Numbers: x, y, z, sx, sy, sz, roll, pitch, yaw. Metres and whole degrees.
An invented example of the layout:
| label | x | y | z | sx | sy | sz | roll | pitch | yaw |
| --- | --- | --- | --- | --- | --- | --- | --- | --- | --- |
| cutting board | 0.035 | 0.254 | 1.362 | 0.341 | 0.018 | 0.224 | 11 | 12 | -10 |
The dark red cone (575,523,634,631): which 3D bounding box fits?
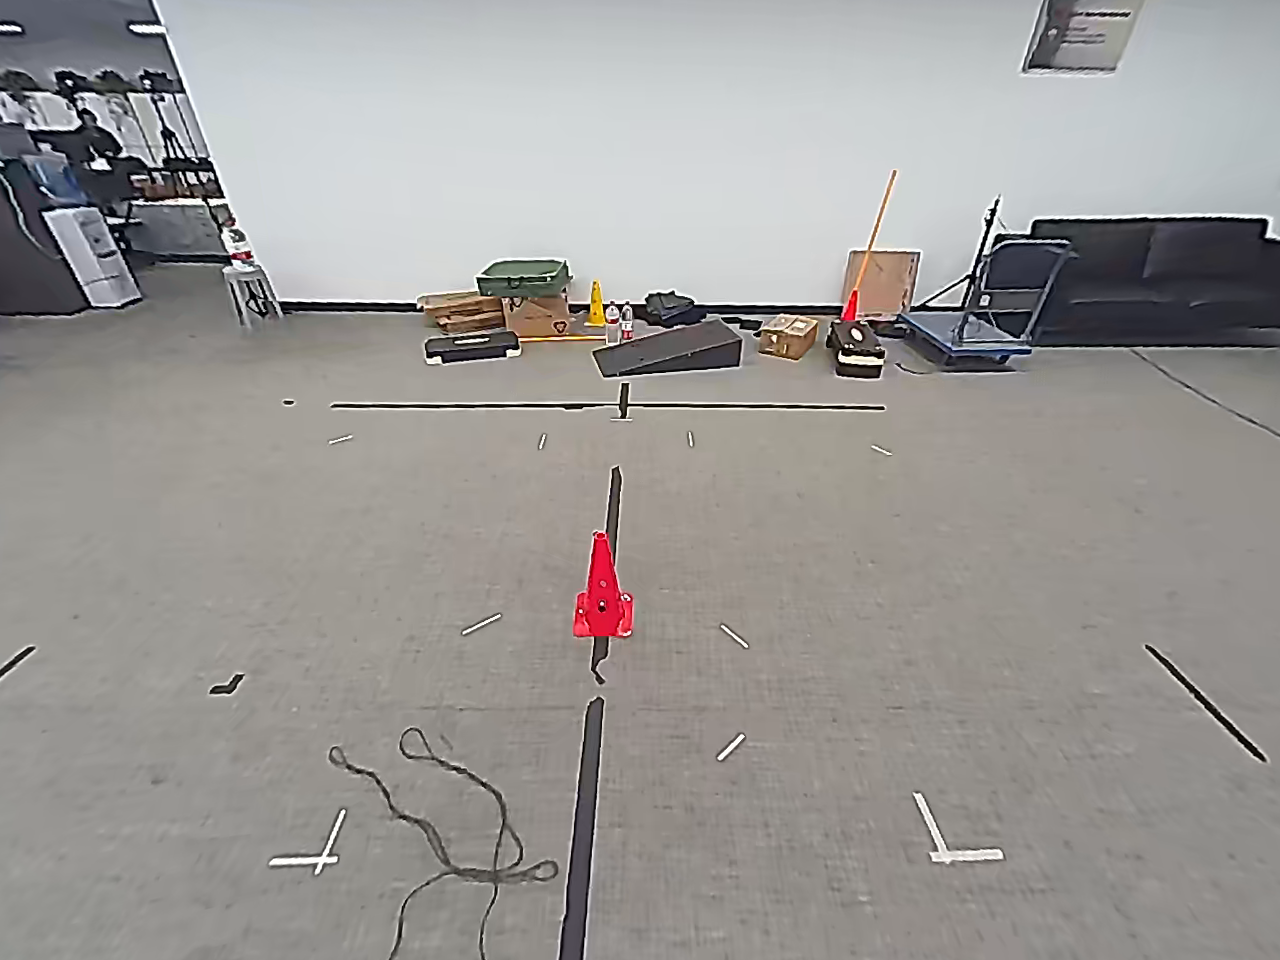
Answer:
| label | x | y | z | sx | sy | sz | roll | pitch | yaw |
| --- | --- | --- | --- | --- | --- | --- | --- | --- | --- |
| dark red cone | -0.122 | 0.304 | 1.781 | 0.201 | 0.394 | 0.202 | 0 | 34 | 0 |
